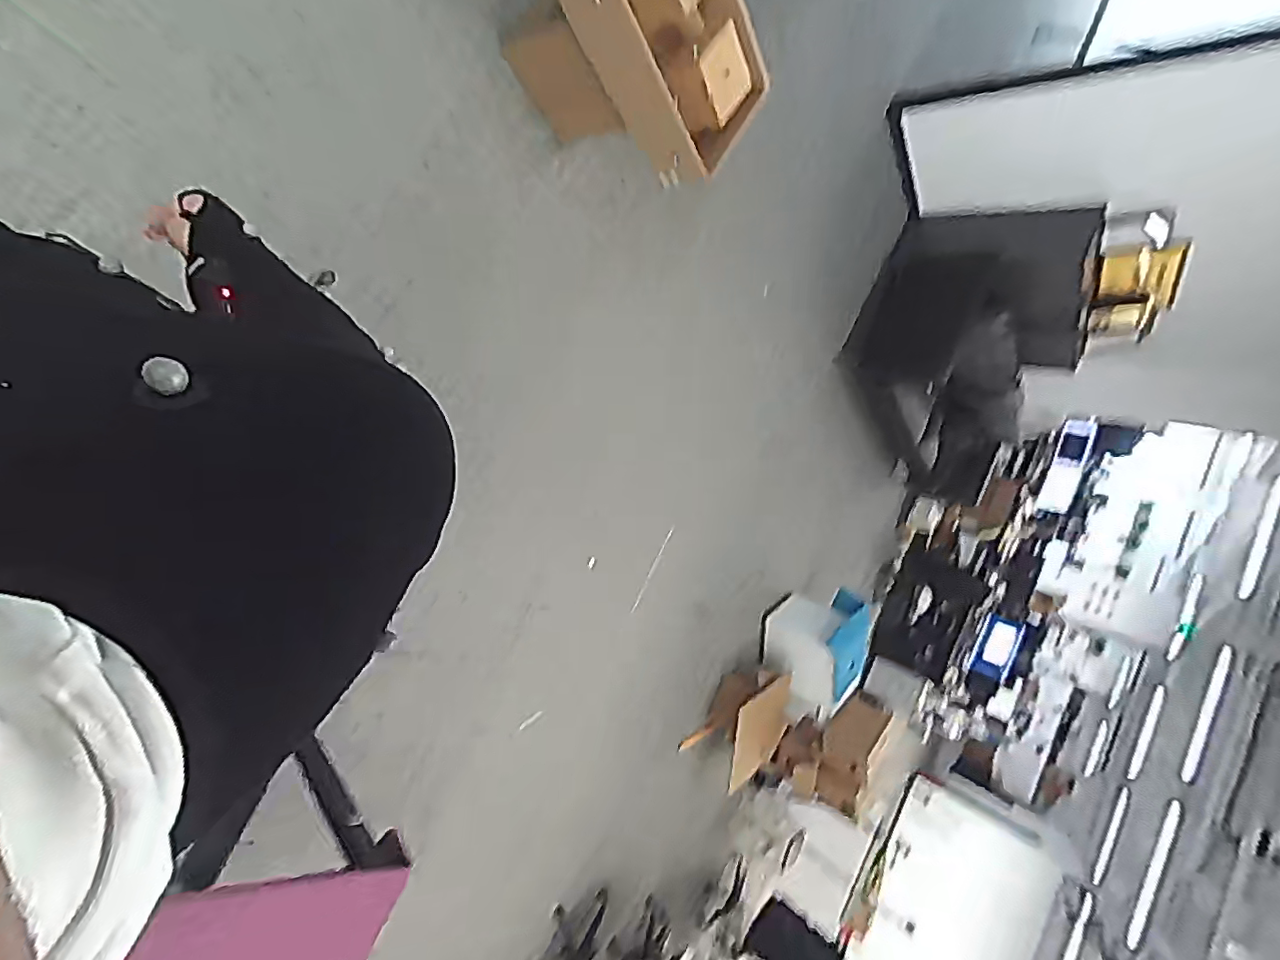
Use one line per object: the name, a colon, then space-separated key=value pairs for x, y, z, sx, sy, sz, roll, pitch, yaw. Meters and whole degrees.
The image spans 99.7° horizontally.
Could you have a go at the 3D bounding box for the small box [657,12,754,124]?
small box: x=0.177 y=-1.118 z=1.478 sx=0.179 sy=0.176 sz=0.168 roll=-58 pitch=138 yaw=-11
